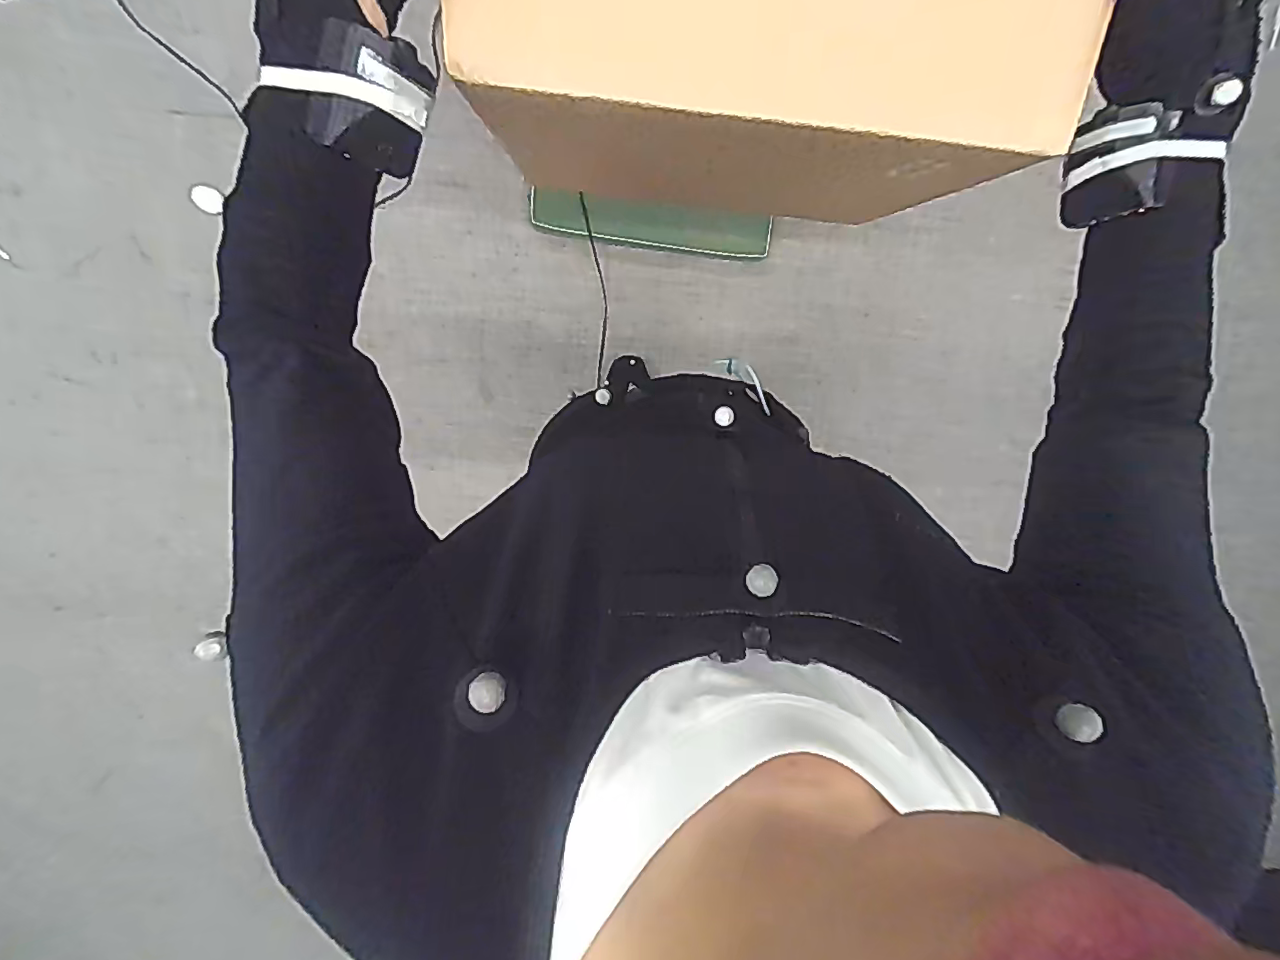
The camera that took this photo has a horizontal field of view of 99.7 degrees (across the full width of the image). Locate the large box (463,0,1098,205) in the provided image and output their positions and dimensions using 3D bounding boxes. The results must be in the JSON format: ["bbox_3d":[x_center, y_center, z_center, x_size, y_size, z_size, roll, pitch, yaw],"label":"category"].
[{"bbox_3d":[0.089,-0.437,0.445,0.408,0.320,0.320,4,108,-5],"label":"large box"}]
